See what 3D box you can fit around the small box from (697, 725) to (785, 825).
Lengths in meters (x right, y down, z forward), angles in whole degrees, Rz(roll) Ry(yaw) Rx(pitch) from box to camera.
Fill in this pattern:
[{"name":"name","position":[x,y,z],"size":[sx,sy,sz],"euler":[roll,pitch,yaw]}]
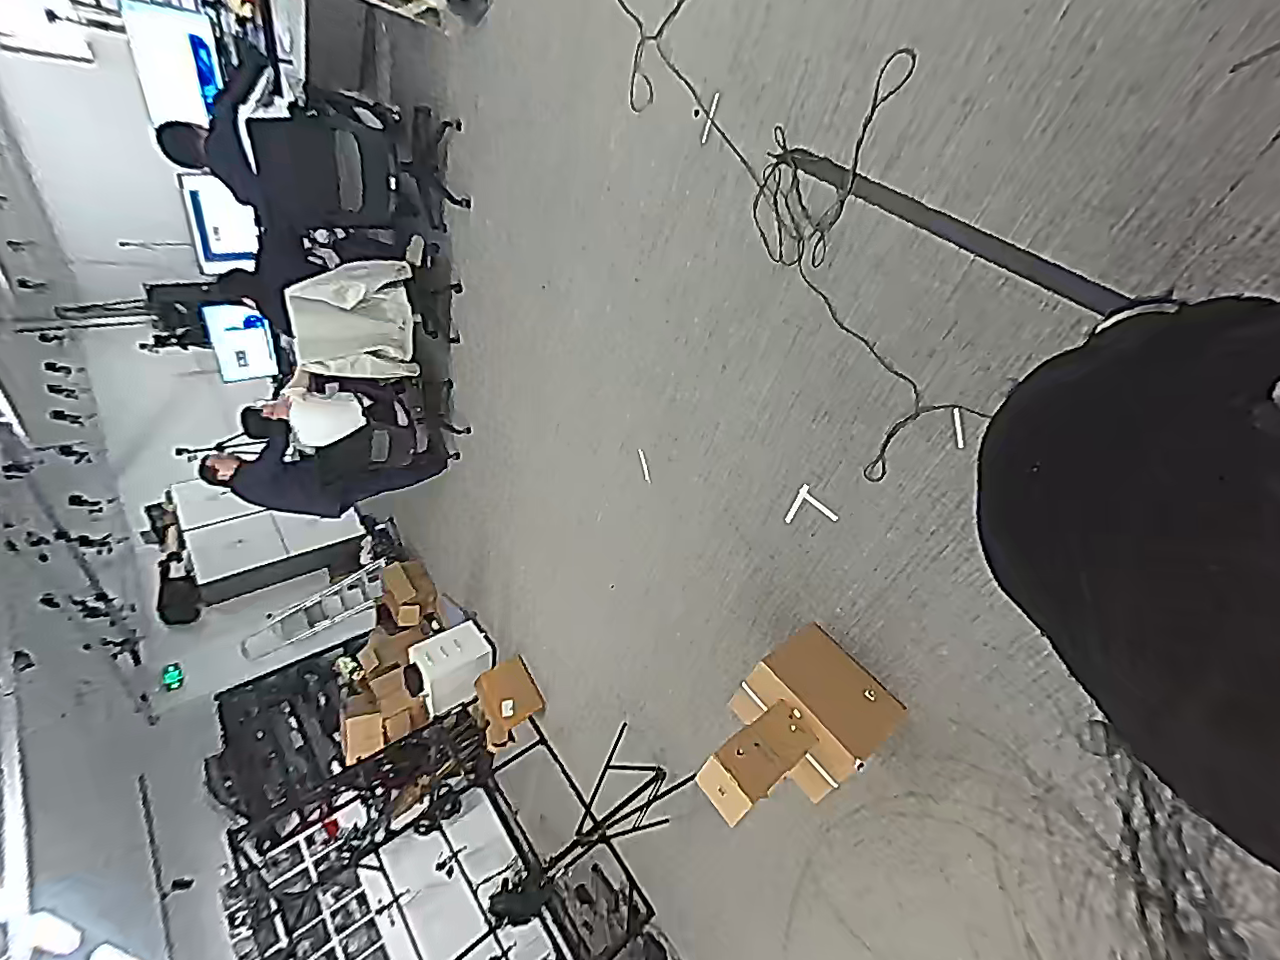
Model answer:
[{"name":"small box","position":[0.303,0.869,1.606],"size":[0.168,0.176,0.179],"euler":[44,136,31]}]

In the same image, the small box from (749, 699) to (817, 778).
[{"name":"small box","position":[0.425,0.833,1.707],"size":[0.168,0.176,0.179],"euler":[44,135,29]}]
